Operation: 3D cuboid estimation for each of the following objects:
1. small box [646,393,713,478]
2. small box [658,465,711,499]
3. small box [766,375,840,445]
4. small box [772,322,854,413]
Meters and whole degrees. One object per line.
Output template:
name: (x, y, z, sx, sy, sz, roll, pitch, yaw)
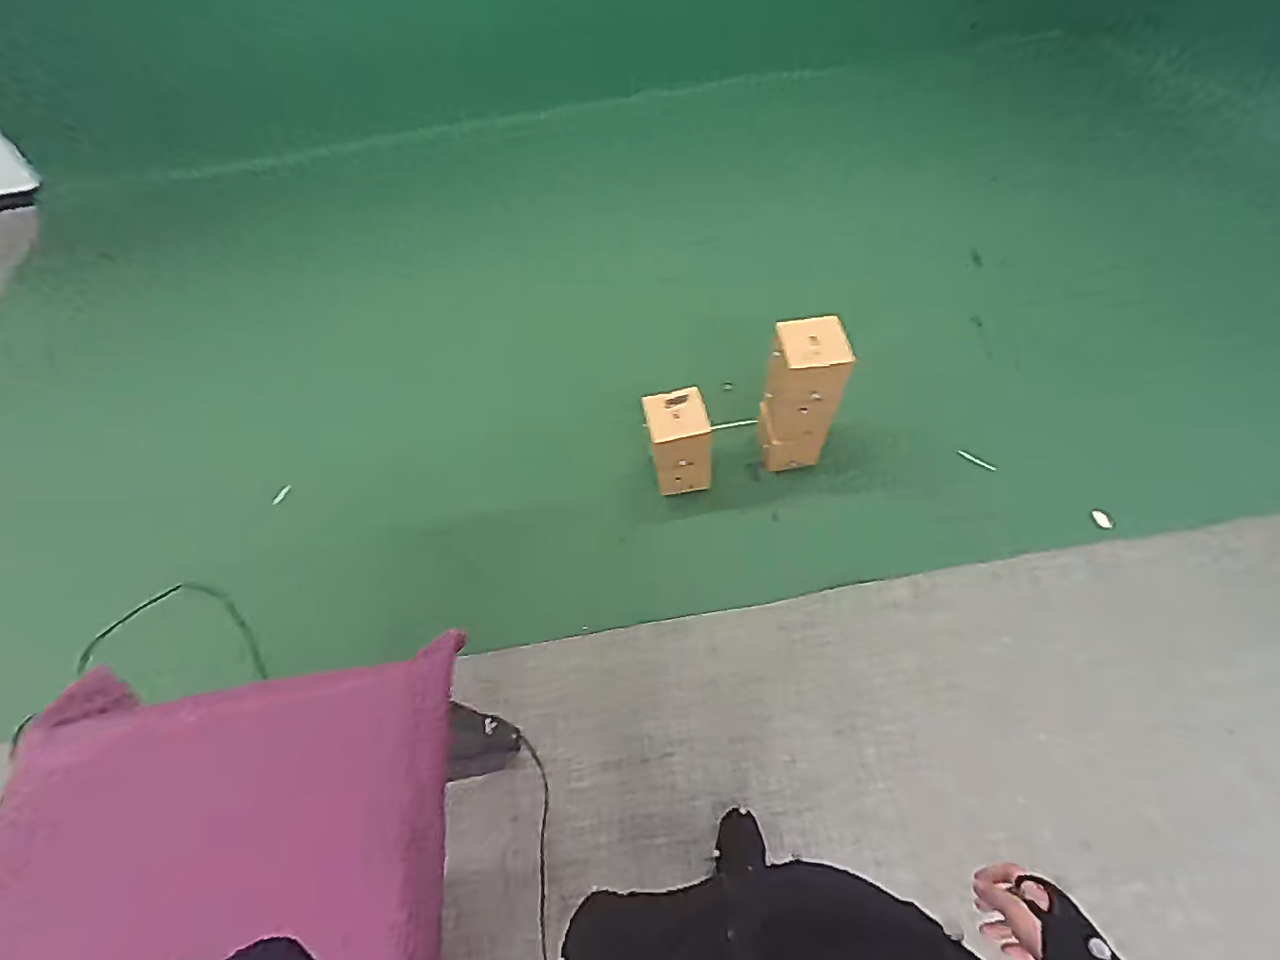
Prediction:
small box: (0.117, -0.131, 1.635, 0.168, 0.176, 0.179, -12, 58, -1)
small box: (0.140, -0.052, 1.778, 0.168, 0.176, 0.179, -10, 57, 0)
small box: (0.489, -0.229, 1.655, 0.168, 0.176, 0.179, -7, 58, 1)
small box: (0.473, -0.312, 1.513, 0.168, 0.176, 0.179, -7, 59, 1)
